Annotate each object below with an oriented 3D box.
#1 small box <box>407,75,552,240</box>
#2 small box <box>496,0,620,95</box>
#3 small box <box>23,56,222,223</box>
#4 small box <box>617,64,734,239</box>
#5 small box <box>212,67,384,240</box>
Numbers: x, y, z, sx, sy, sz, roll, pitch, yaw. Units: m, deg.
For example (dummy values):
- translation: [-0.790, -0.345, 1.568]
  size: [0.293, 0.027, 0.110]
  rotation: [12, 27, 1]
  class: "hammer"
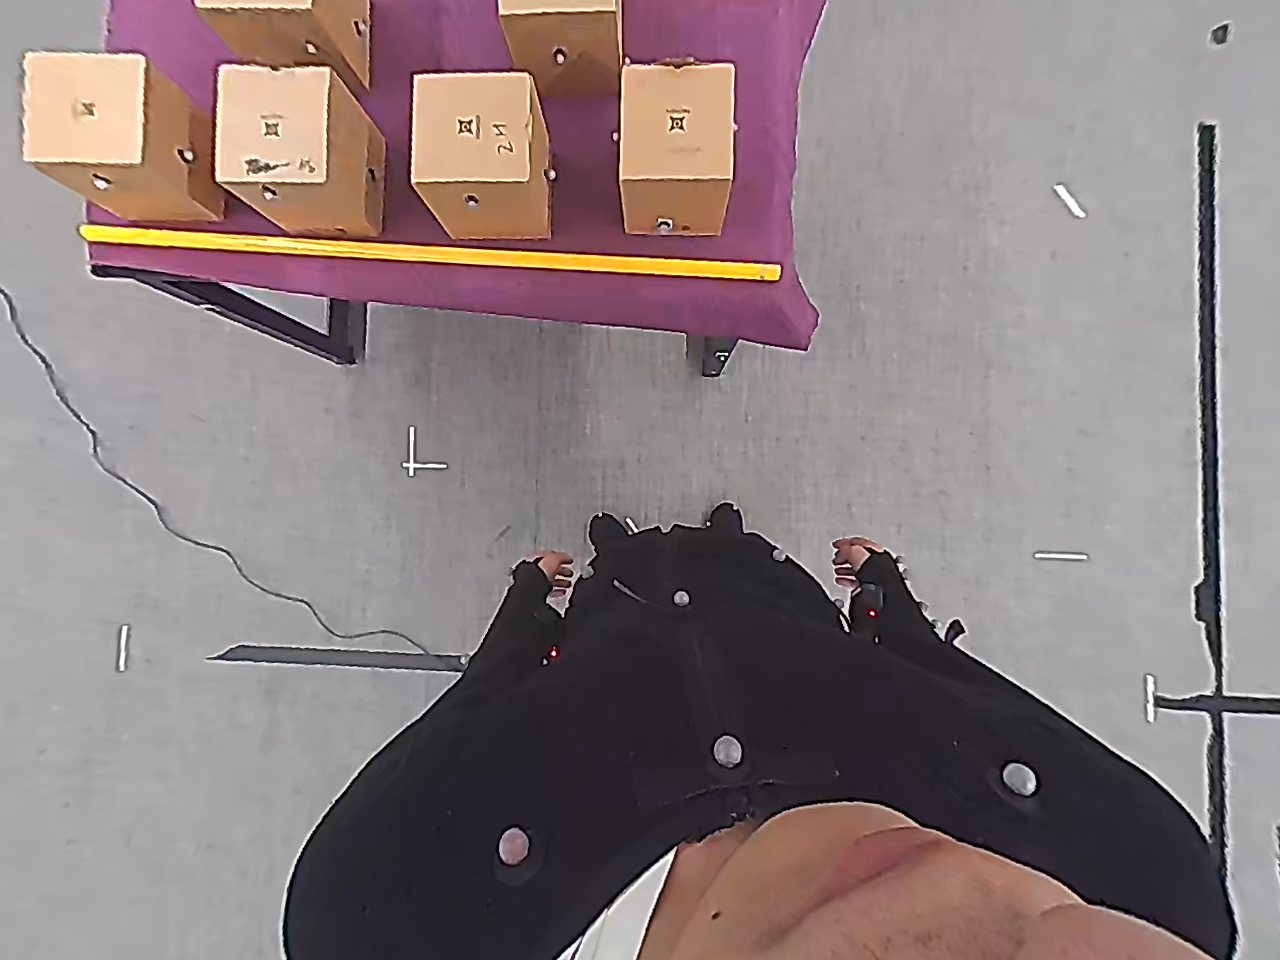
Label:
- translation: [-0.244, -0.499, 0.857]
  size: [0.179, 0.176, 0.168]
  rotation: [1, 87, 2]
  class: "small box"
- translation: [-0.121, -0.752, 0.863]
  size: [0.179, 0.176, 0.168]
  rotation: [-1, 89, 2]
  class: "small box"
- translation: [-0.811, -0.534, 0.869]
  size: [0.179, 0.176, 0.168]
  rotation: [0, 88, 0]
  class: "small box"
- translation: [0.054, -0.507, 0.851]
  size: [0.168, 0.176, 0.179]
  rotation: [1, 86, 3]
  class: "small box"
- translation: [-0.531, -0.510, 0.863]
  size: [0.168, 0.176, 0.179]
  rotation: [2, 88, 2]
  class: "small box"
